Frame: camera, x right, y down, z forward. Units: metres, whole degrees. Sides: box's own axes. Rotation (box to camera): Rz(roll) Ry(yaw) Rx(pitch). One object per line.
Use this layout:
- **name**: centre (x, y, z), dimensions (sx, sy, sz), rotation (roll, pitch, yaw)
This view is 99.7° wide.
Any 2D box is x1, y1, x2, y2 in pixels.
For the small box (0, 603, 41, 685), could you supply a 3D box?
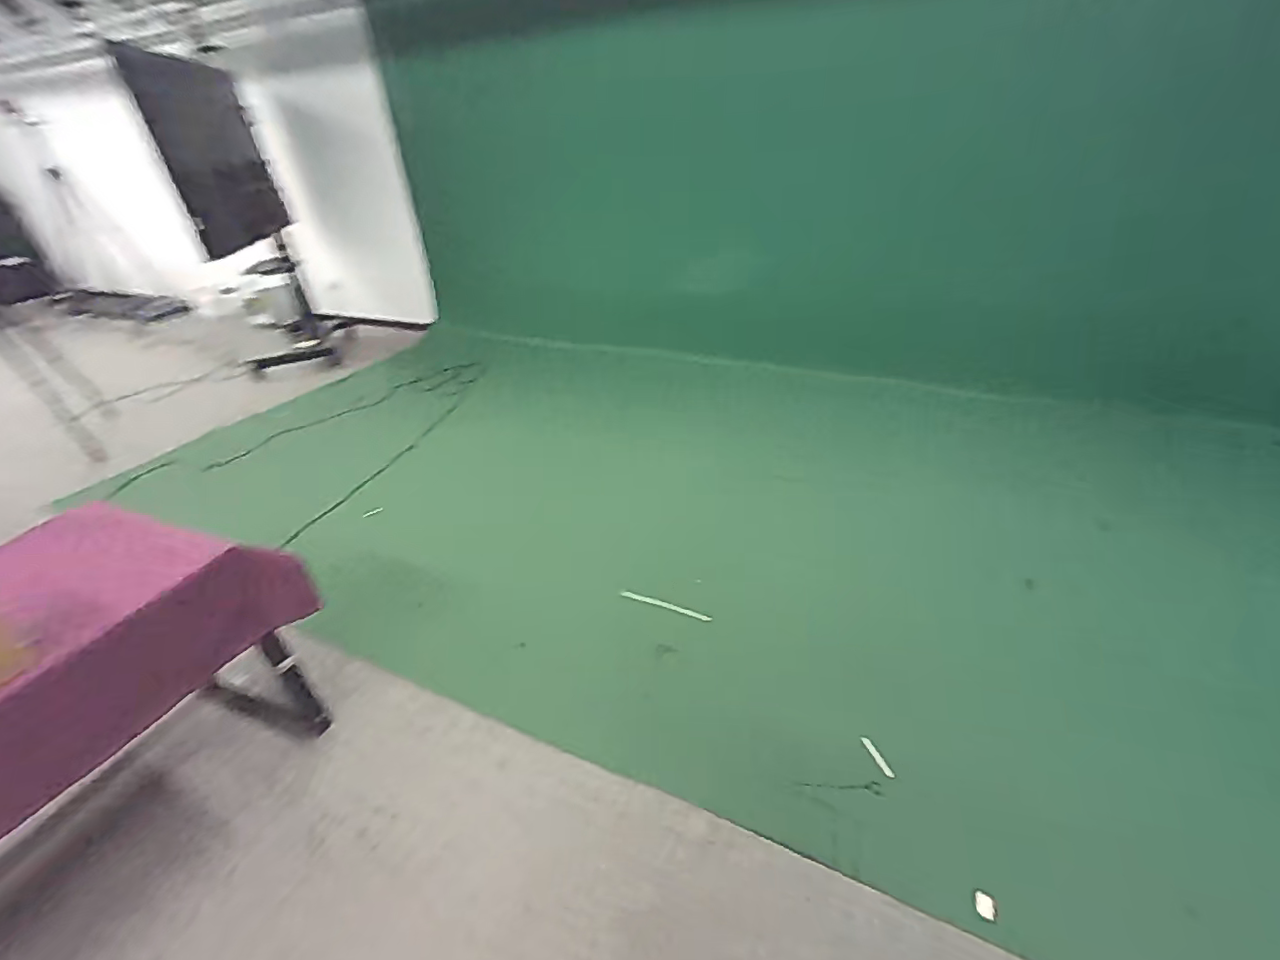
- **small box**: centre (-1.270, 0.306, 0.985), dimensions (0.168, 0.176, 0.179), rotation (12, 37, 23)
